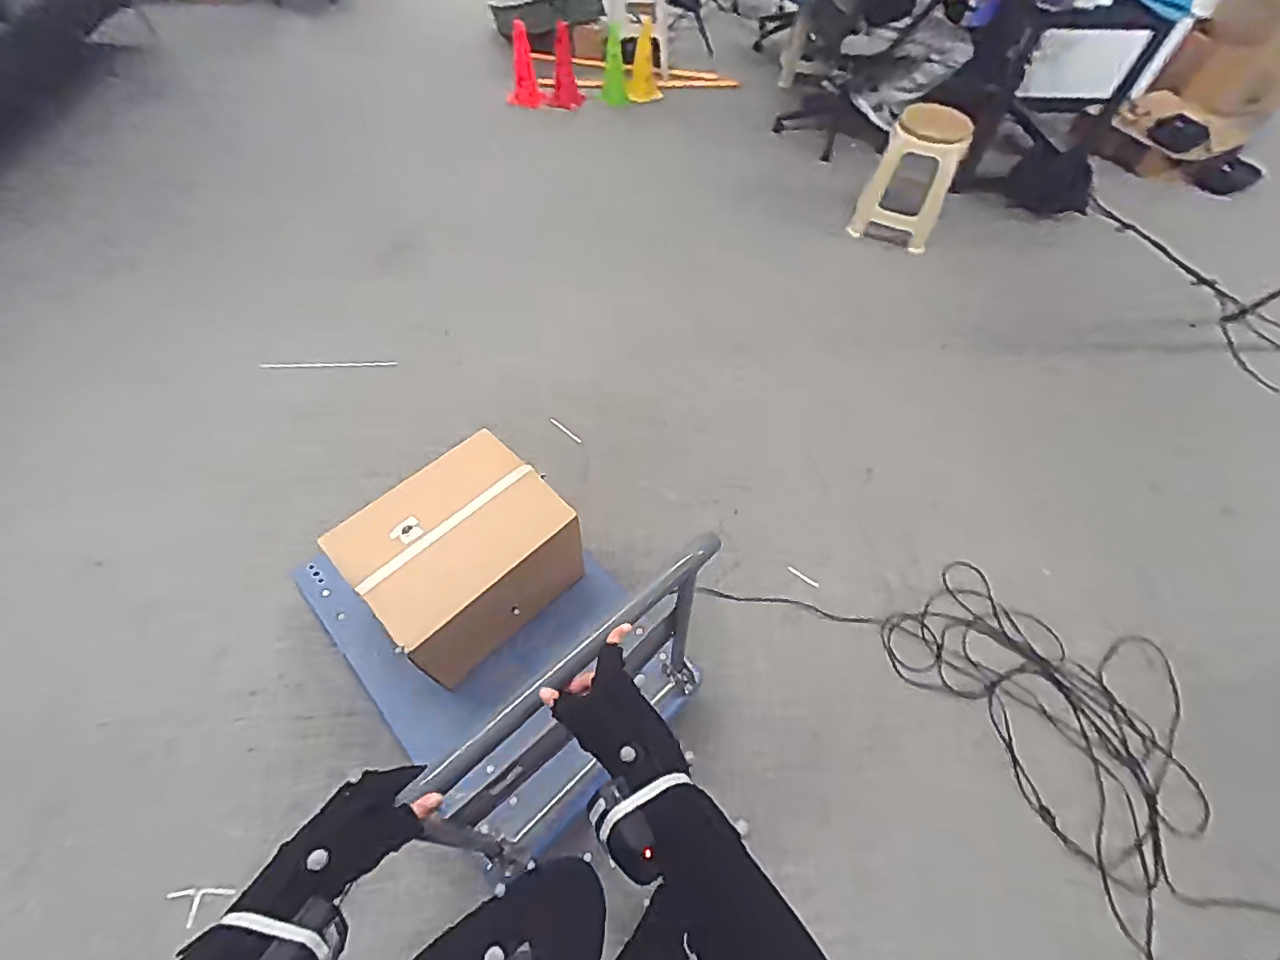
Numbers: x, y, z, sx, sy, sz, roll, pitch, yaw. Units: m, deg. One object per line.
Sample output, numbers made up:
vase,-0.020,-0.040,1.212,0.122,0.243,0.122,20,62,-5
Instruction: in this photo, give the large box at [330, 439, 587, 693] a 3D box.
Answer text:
large box,-0.367,0.192,1.205,0.320,0.320,0.408,39,64,21
